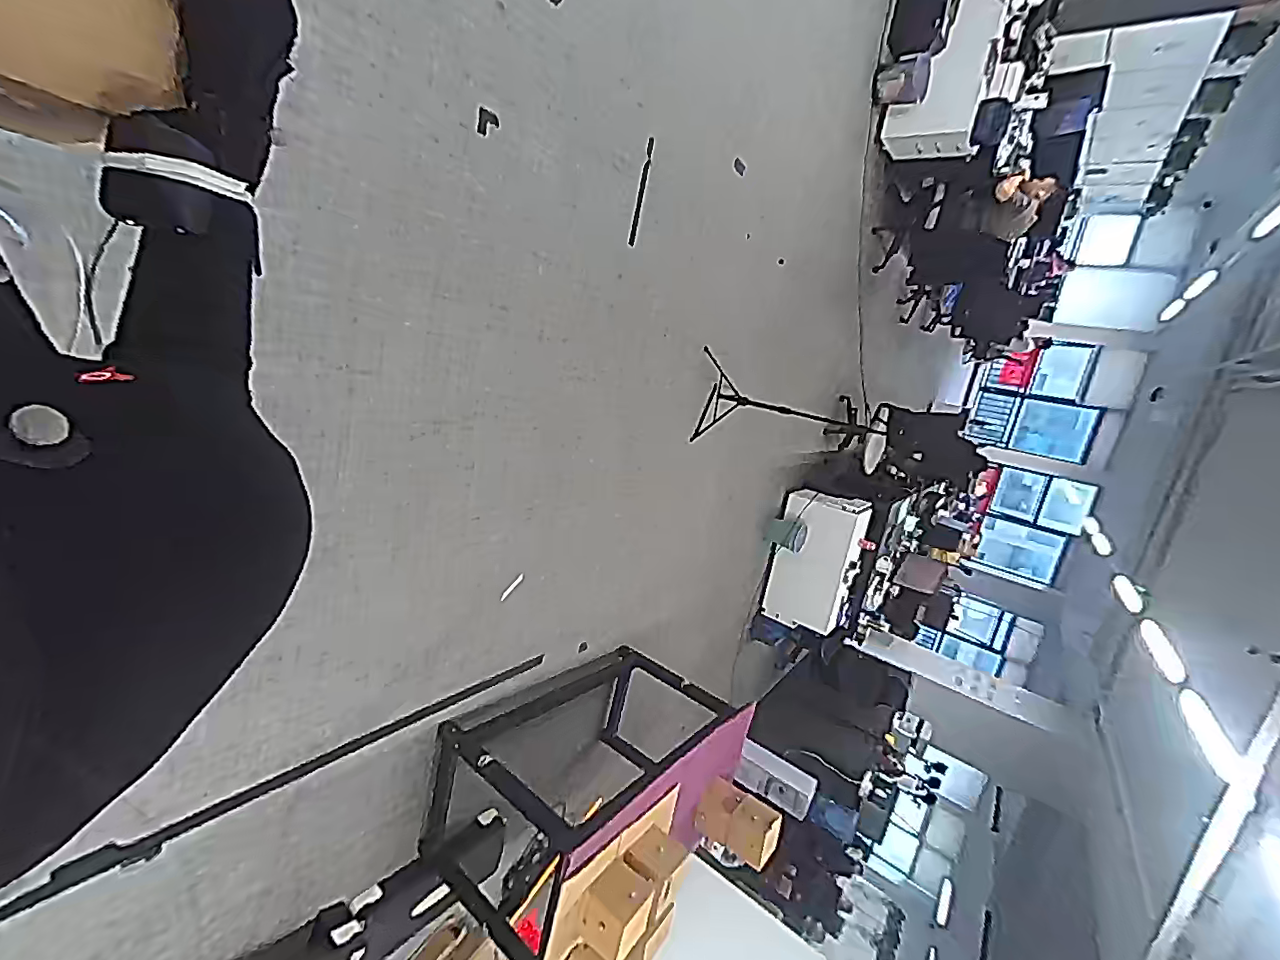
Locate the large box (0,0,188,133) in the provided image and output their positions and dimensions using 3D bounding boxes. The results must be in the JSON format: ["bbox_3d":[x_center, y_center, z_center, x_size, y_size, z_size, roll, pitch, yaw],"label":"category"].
[{"bbox_3d":[-0.524,-0.426,0.262,0.408,0.320,0.320,-6,114,-59],"label":"large box"}]
